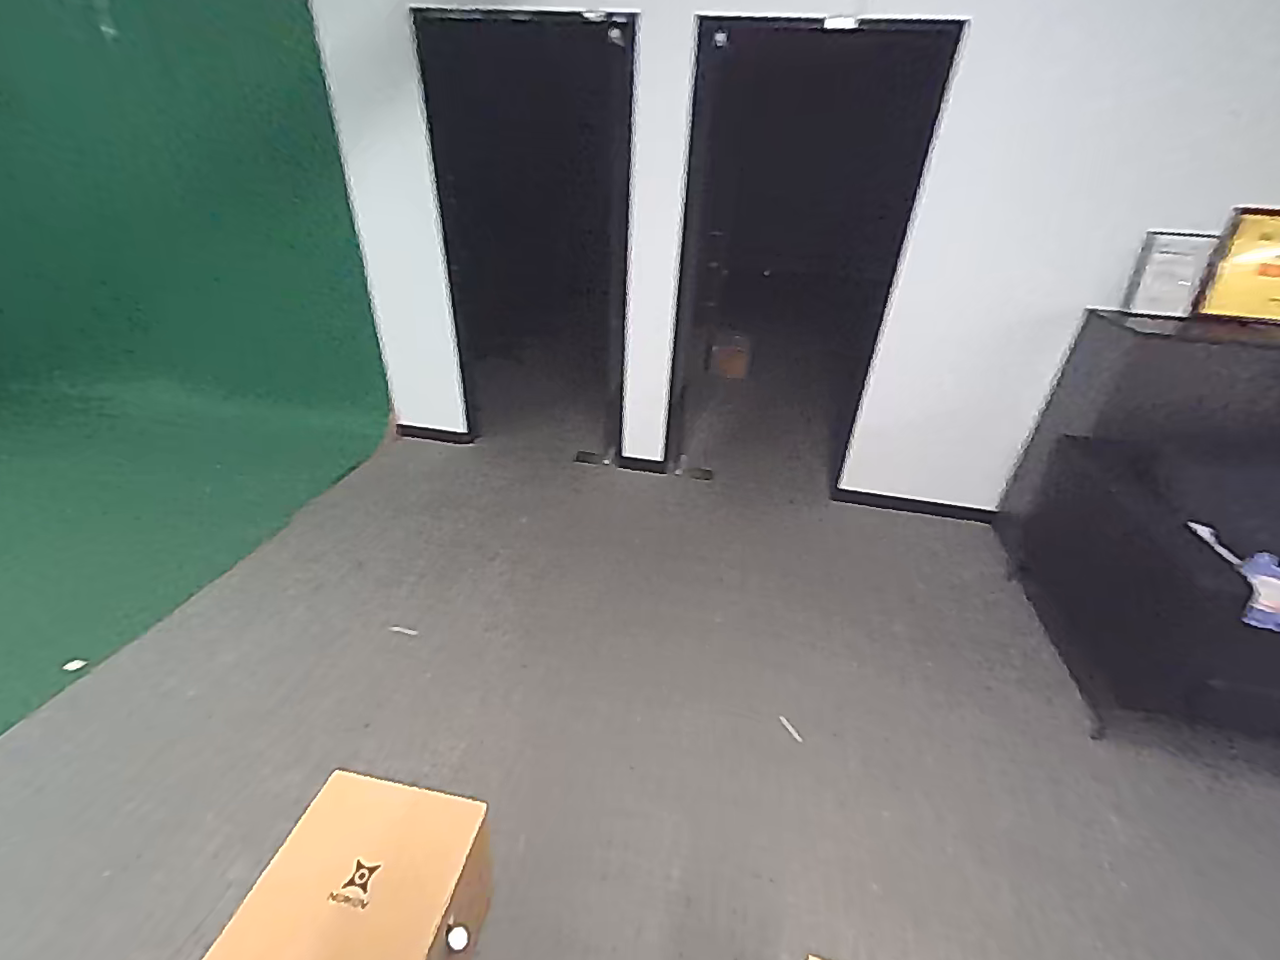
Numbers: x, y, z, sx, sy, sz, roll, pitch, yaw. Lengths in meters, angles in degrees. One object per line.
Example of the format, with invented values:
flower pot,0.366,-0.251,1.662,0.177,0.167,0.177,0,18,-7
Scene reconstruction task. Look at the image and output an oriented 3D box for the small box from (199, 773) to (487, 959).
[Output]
small box,-0.254,0.419,0.504,0.168,0.176,0.179,9,30,6
